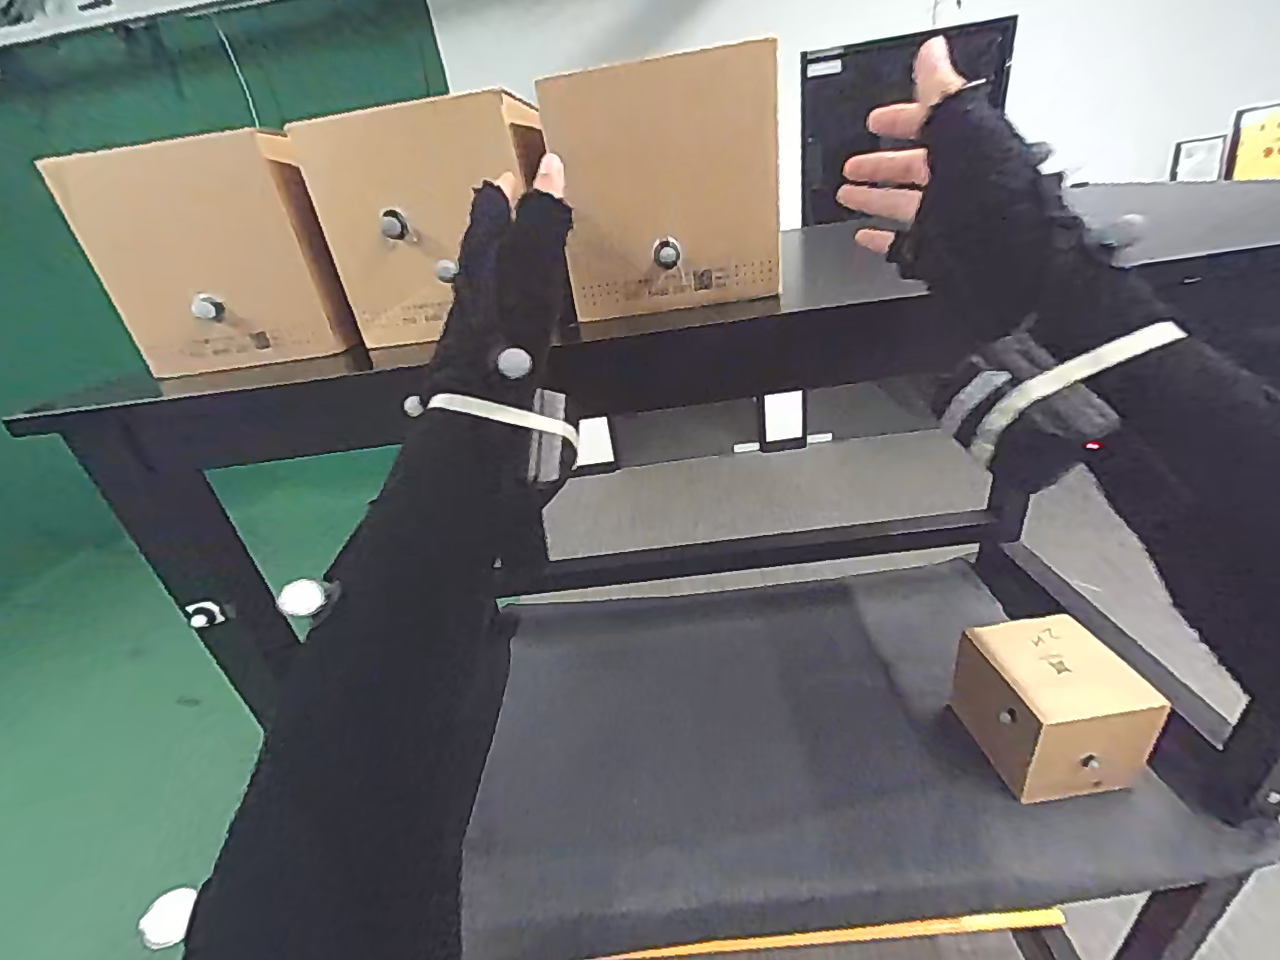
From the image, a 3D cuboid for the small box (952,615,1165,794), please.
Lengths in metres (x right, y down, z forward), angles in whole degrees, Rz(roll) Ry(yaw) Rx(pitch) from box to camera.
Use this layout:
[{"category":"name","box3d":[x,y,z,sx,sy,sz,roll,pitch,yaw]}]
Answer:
[{"category":"small box","box3d":[0.593,0.331,0.795,0.168,0.176,0.179,-9,26,0]}]

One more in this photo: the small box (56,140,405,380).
[{"category":"small box","box3d":[-0.344,-0.203,0.505,0.168,0.176,0.179,-7,28,2]}]
